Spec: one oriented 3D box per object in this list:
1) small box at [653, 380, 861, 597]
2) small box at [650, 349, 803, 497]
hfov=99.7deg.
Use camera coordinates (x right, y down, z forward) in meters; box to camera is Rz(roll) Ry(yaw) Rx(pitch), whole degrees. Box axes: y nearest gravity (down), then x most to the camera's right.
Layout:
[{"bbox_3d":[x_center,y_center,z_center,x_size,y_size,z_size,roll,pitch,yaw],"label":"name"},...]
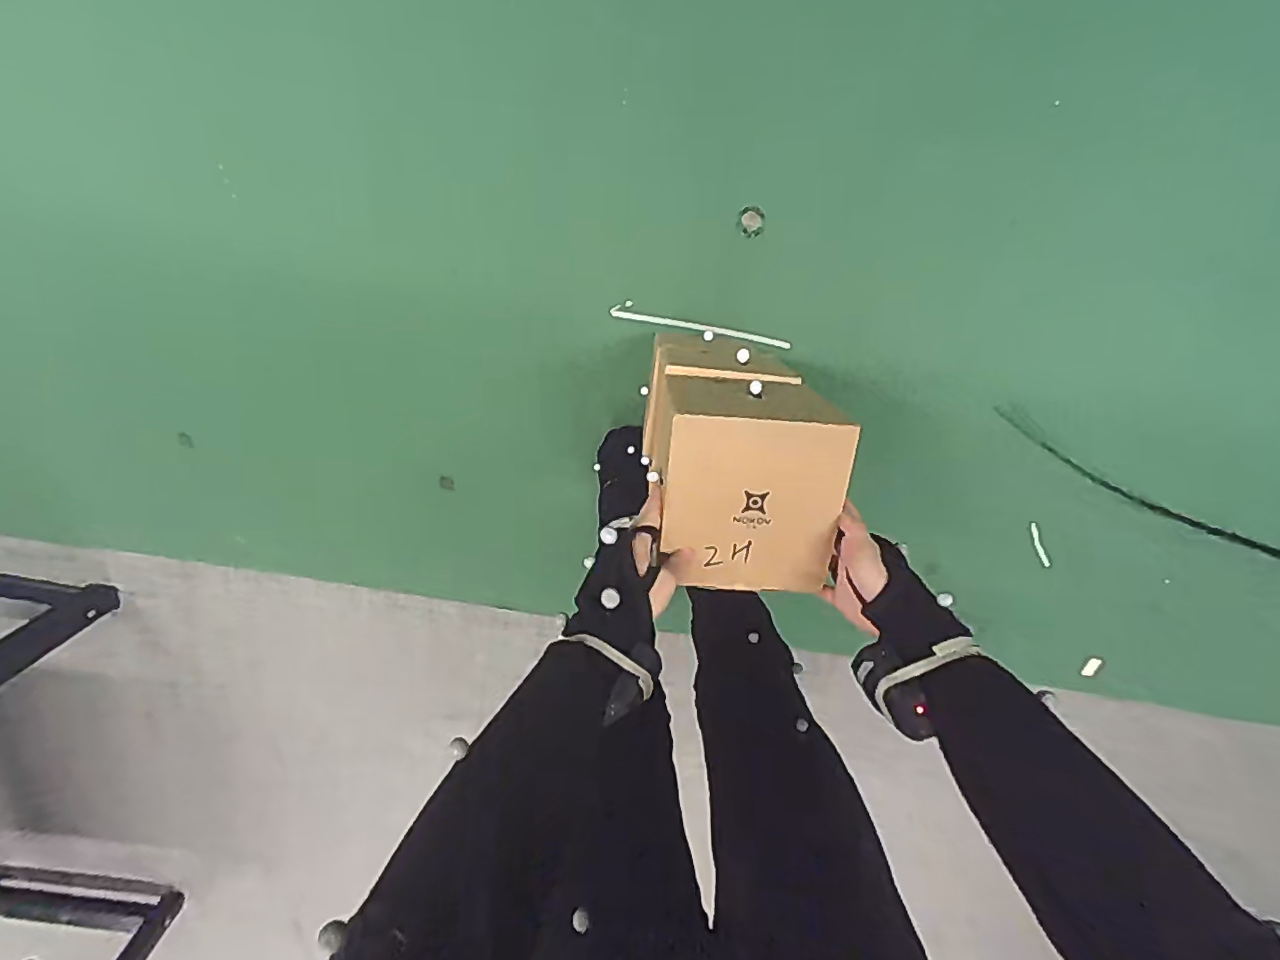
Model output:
[{"bbox_3d":[0.103,-0.002,0.568,0.168,0.176,0.179,5,112,-2],"label":"small box"},{"bbox_3d":[0.104,-0.076,0.742,0.168,0.176,0.179,6,113,-2],"label":"small box"}]
